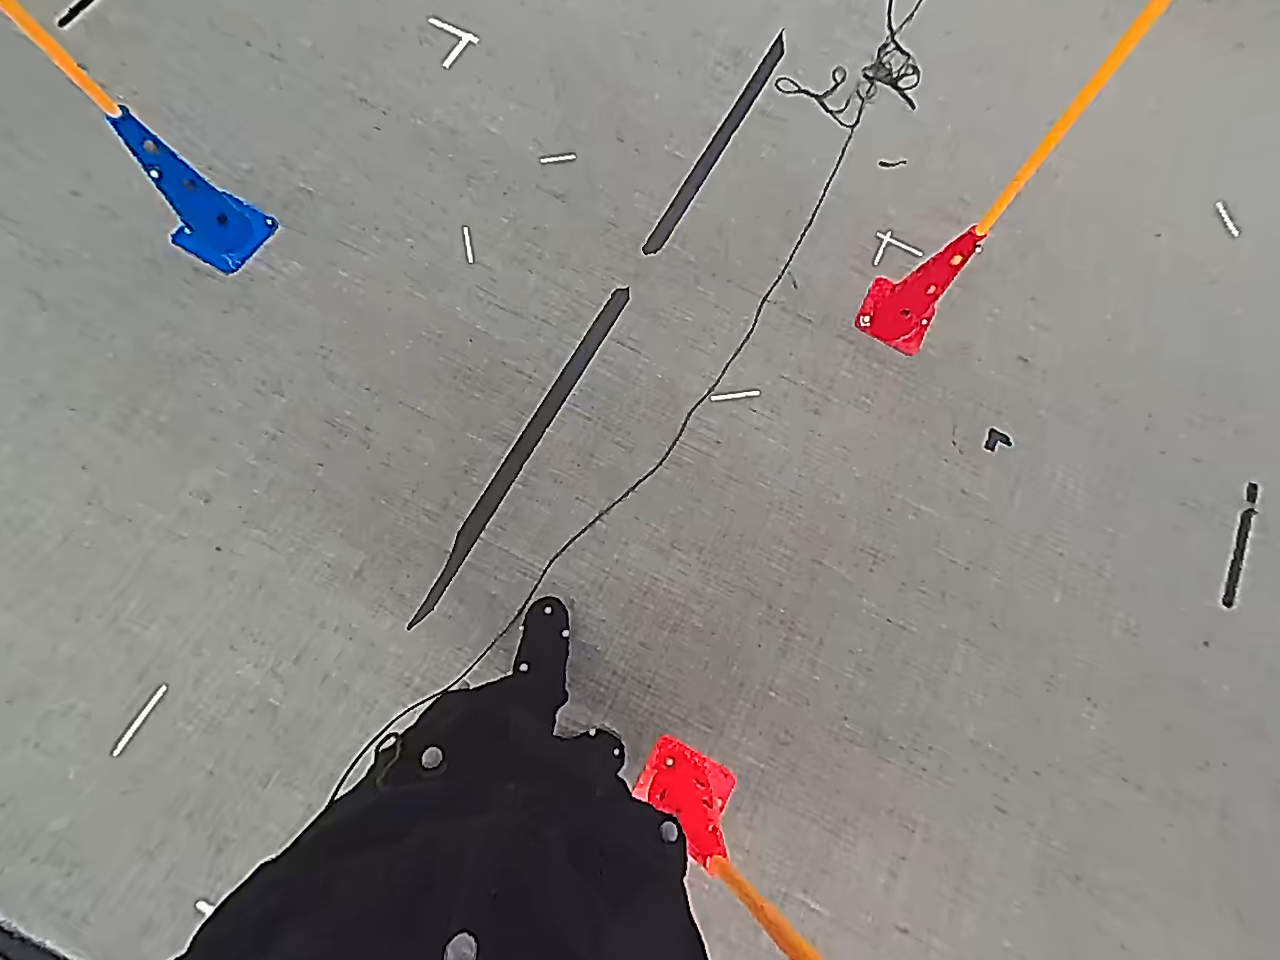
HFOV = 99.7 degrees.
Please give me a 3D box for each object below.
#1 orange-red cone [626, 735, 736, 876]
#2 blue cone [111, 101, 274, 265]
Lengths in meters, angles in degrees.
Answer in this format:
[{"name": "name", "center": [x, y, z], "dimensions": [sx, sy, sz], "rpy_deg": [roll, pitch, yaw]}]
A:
[{"name": "orange-red cone", "center": [0.107, 0.652, 1.023], "dimensions": [0.198, 0.360, 0.199], "rpy_deg": [31, 75, 3]}, {"name": "blue cone", "center": [-1.101, -0.717, 1.296], "dimensions": [0.193, 0.380, 0.192], "rpy_deg": [31, 74, 3]}]
